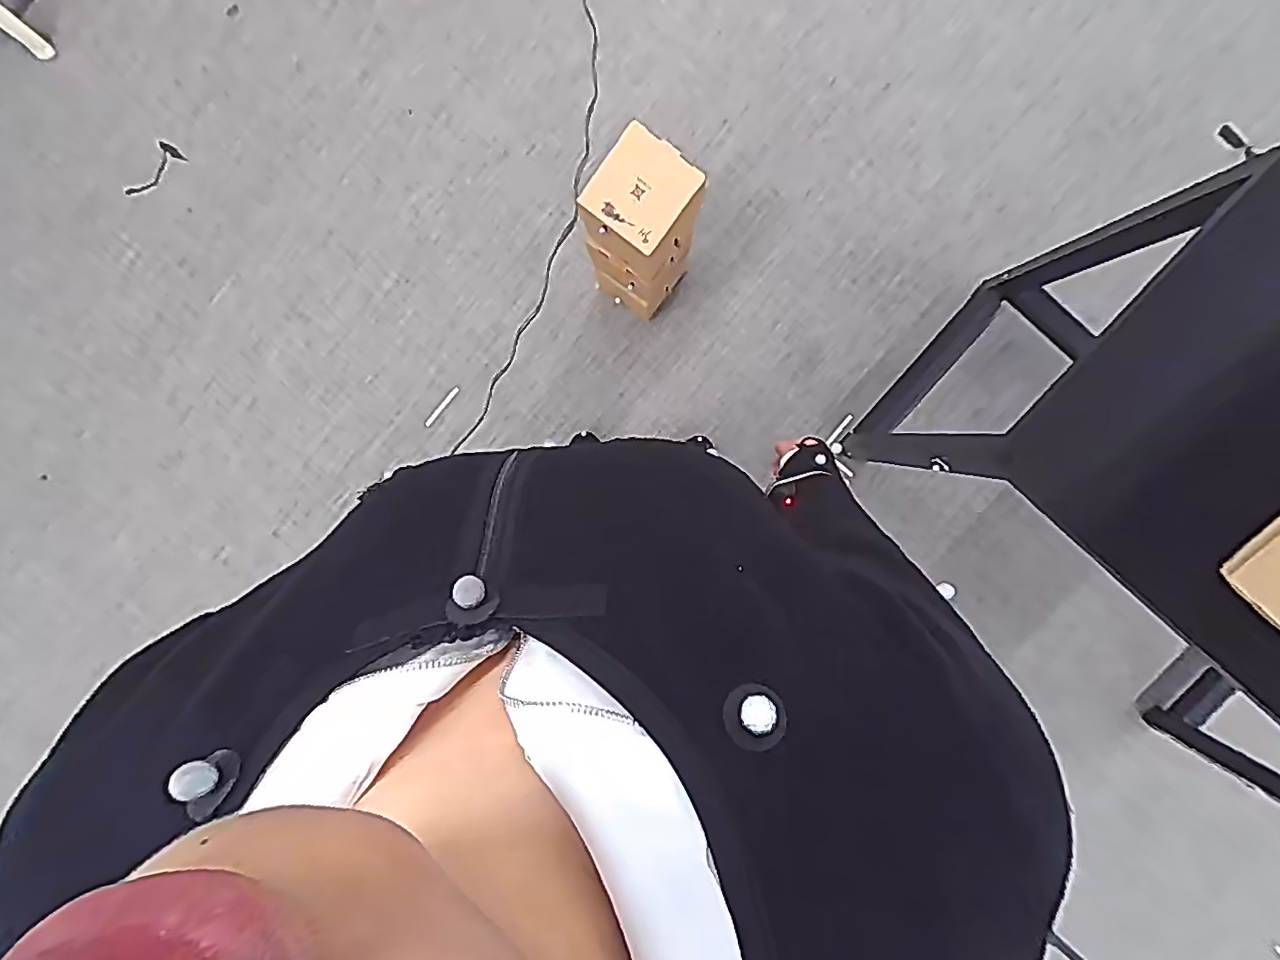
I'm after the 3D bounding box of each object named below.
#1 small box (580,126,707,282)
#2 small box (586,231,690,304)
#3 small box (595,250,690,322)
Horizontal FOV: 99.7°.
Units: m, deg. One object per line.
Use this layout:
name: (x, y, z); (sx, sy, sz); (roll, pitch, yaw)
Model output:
small box: (0.005, -0.520, 1.046); (0.168, 0.176, 0.179); (37, 94, -1)
small box: (0.002, -0.524, 1.211); (0.168, 0.176, 0.179); (34, 93, -2)
small box: (0.005, -0.531, 1.373); (0.168, 0.176, 0.179); (37, 95, -1)
